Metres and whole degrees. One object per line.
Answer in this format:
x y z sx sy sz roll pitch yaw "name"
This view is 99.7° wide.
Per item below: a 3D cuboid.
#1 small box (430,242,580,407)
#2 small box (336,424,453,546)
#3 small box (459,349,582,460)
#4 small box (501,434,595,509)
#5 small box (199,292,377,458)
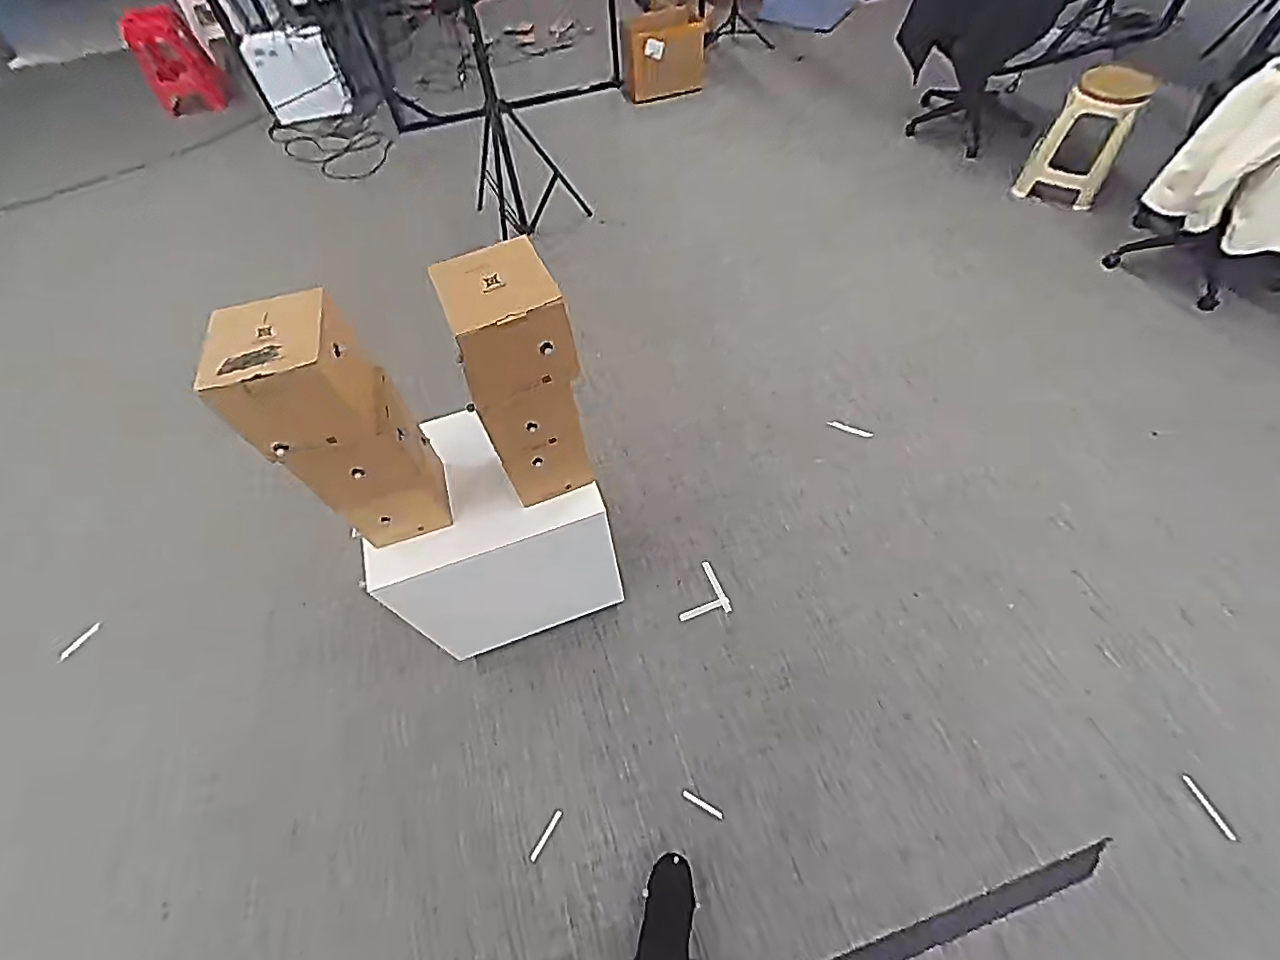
-0.209 -0.240 0.869 0.168 0.176 0.179 -24 59 -11 "small box"
-0.500 0.019 1.115 0.168 0.176 0.179 -18 58 -8 "small box"
-0.217 -0.158 1.010 0.168 0.176 0.179 -20 58 -8 "small box"
-0.206 -0.069 1.149 0.168 0.176 0.179 -21 58 -8 "small box"
-0.524 -0.153 0.835 0.168 0.176 0.179 -15 57 -6 "small box"
